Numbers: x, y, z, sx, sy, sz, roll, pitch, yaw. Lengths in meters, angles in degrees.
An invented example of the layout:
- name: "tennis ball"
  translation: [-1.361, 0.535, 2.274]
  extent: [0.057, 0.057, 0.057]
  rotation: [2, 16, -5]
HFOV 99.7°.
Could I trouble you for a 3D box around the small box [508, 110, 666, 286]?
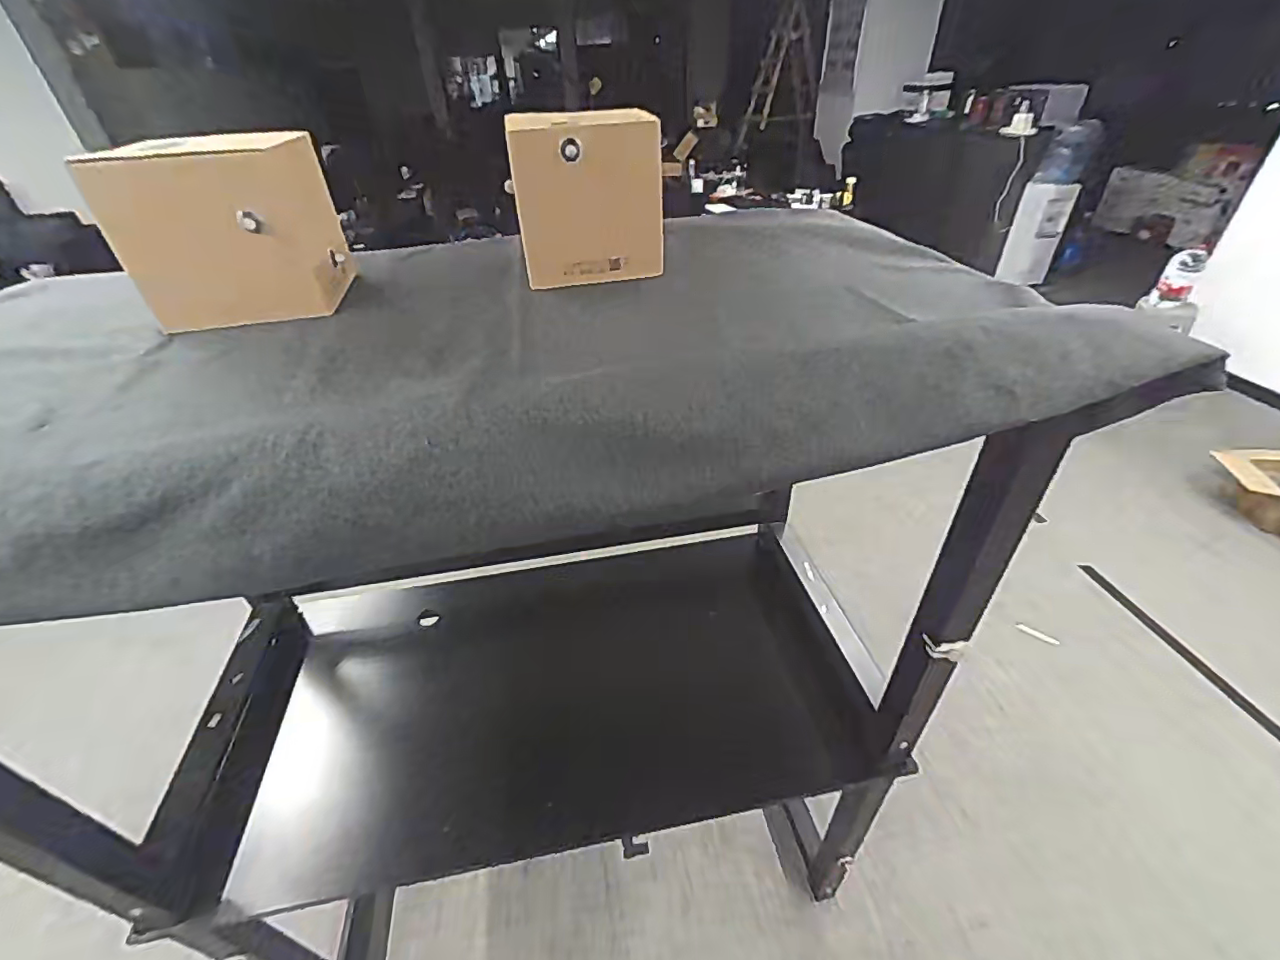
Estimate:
- name: "small box"
  translation: [-0.066, -0.352, 0.671]
  extent: [0.168, 0.176, 0.179]
  rotation: [-9, 37, -7]
